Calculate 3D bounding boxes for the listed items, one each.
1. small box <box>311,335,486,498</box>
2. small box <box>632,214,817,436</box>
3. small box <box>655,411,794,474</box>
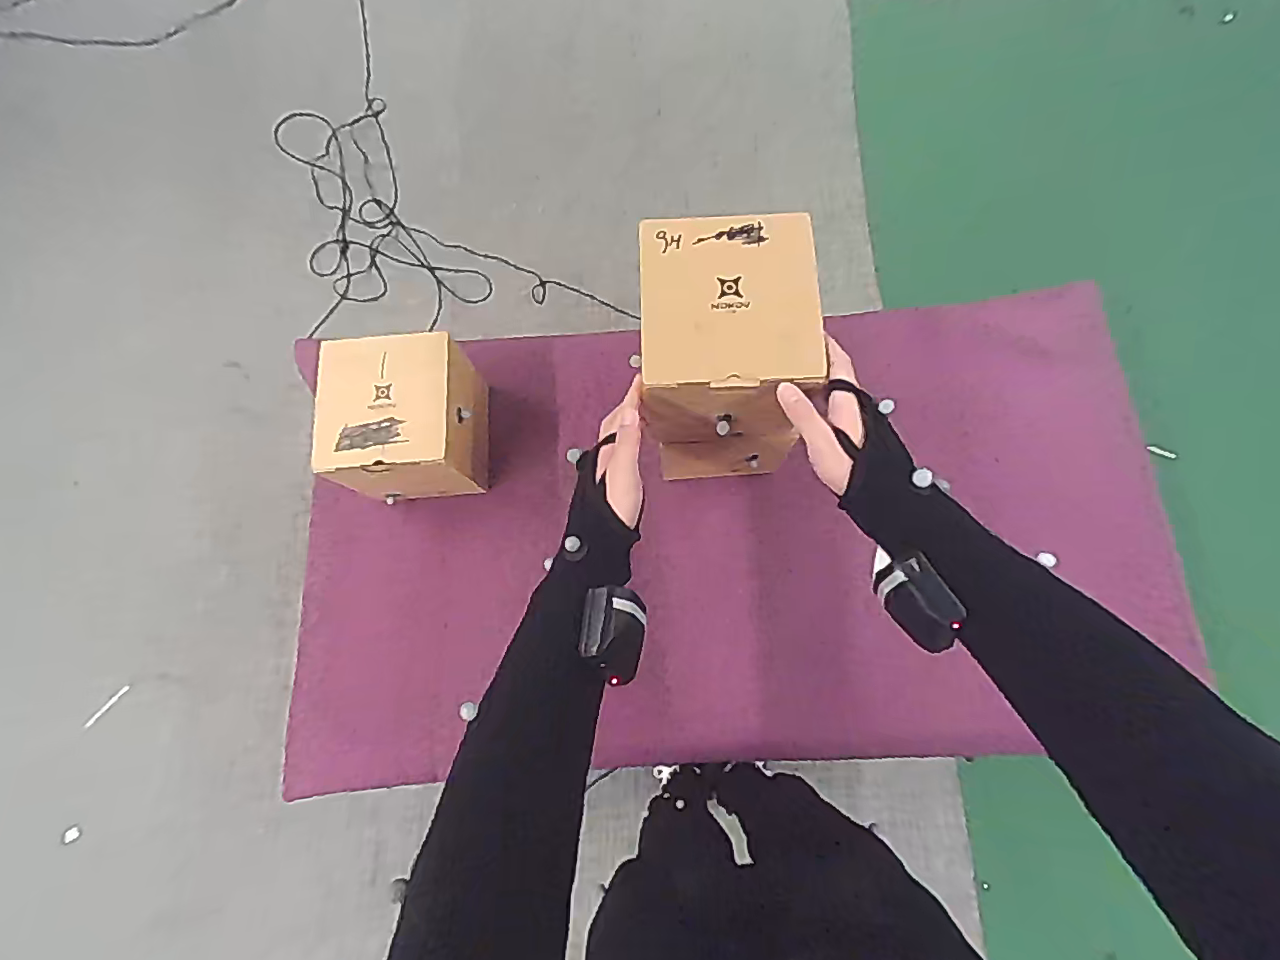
[{"bbox_3d":[-0.318,-0.075,0.746,0.168,0.176,0.179,-5,75,1],"label":"small box"},{"bbox_3d":[0.080,-0.148,0.577,0.168,0.176,0.179,-2,77,2],"label":"small box"},{"bbox_3d":[0.102,-0.109,0.734,0.168,0.176,0.179,-4,75,2],"label":"small box"}]
